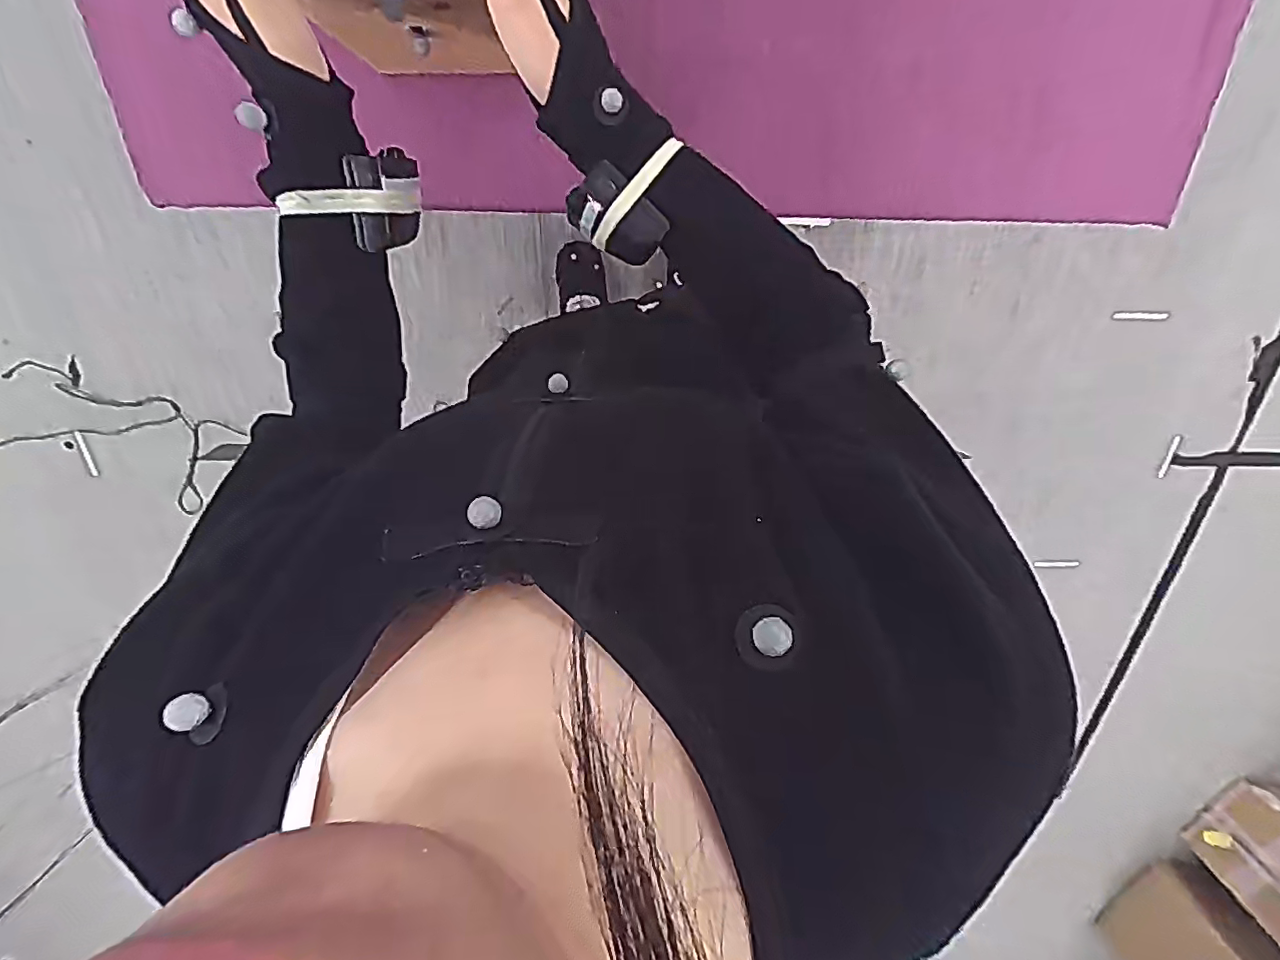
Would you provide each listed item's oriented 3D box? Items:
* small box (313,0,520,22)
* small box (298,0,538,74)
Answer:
[{"bbox_3d":[-0.170,-0.407,0.315,0.168,0.176,0.179,-3,115,-2],"label":"small box"},{"bbox_3d":[-0.184,-0.473,0.466,0.179,0.176,0.168,-1,114,-3],"label":"small box"}]
